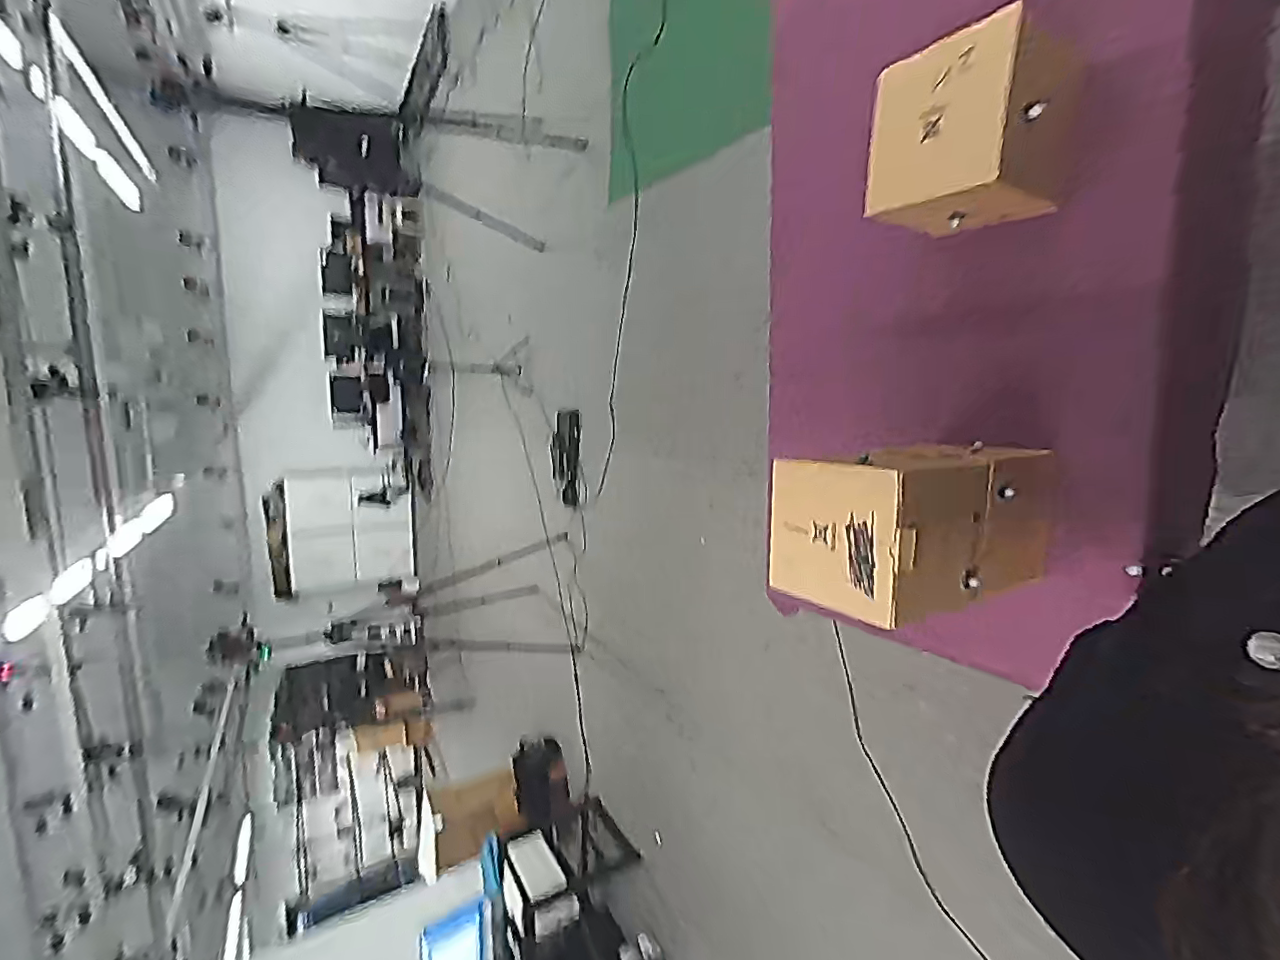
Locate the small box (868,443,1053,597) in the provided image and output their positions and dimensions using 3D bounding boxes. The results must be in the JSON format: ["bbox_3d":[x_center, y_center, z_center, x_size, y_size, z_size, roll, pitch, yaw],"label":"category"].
[{"bbox_3d":[0.432,0.042,0.743,0.168,0.176,0.179,12,103,59],"label":"small box"}]

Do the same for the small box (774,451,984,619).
[{"bbox_3d":[0.289,0.052,0.663,0.179,0.176,0.168,11,102,60],"label":"small box"}]

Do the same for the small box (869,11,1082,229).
[{"bbox_3d":[0.425,-0.433,0.693,0.168,0.176,0.179,19,110,57],"label":"small box"}]
